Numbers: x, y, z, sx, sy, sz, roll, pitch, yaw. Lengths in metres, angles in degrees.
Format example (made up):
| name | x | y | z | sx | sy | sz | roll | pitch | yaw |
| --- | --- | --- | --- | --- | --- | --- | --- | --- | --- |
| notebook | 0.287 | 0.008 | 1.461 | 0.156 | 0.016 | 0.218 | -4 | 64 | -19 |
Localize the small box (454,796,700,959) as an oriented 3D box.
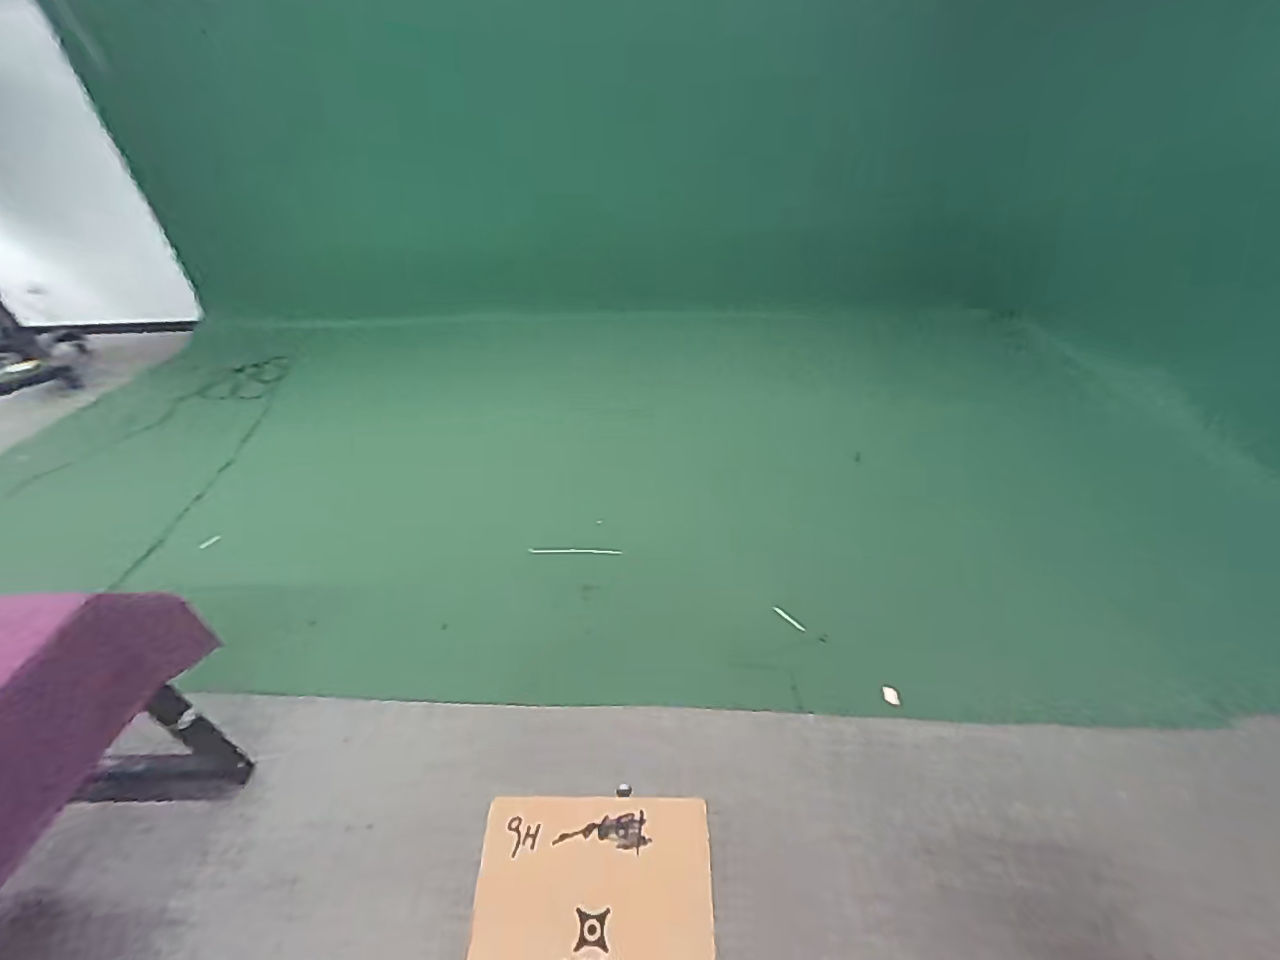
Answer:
| name | x | y | z | sx | sy | sz | roll | pitch | yaw |
| --- | --- | --- | --- | --- | --- | --- | --- | --- | --- |
| small box | -0.038 | 0.359 | 0.418 | 0.168 | 0.176 | 0.179 | -1 | 50 | 1 |
